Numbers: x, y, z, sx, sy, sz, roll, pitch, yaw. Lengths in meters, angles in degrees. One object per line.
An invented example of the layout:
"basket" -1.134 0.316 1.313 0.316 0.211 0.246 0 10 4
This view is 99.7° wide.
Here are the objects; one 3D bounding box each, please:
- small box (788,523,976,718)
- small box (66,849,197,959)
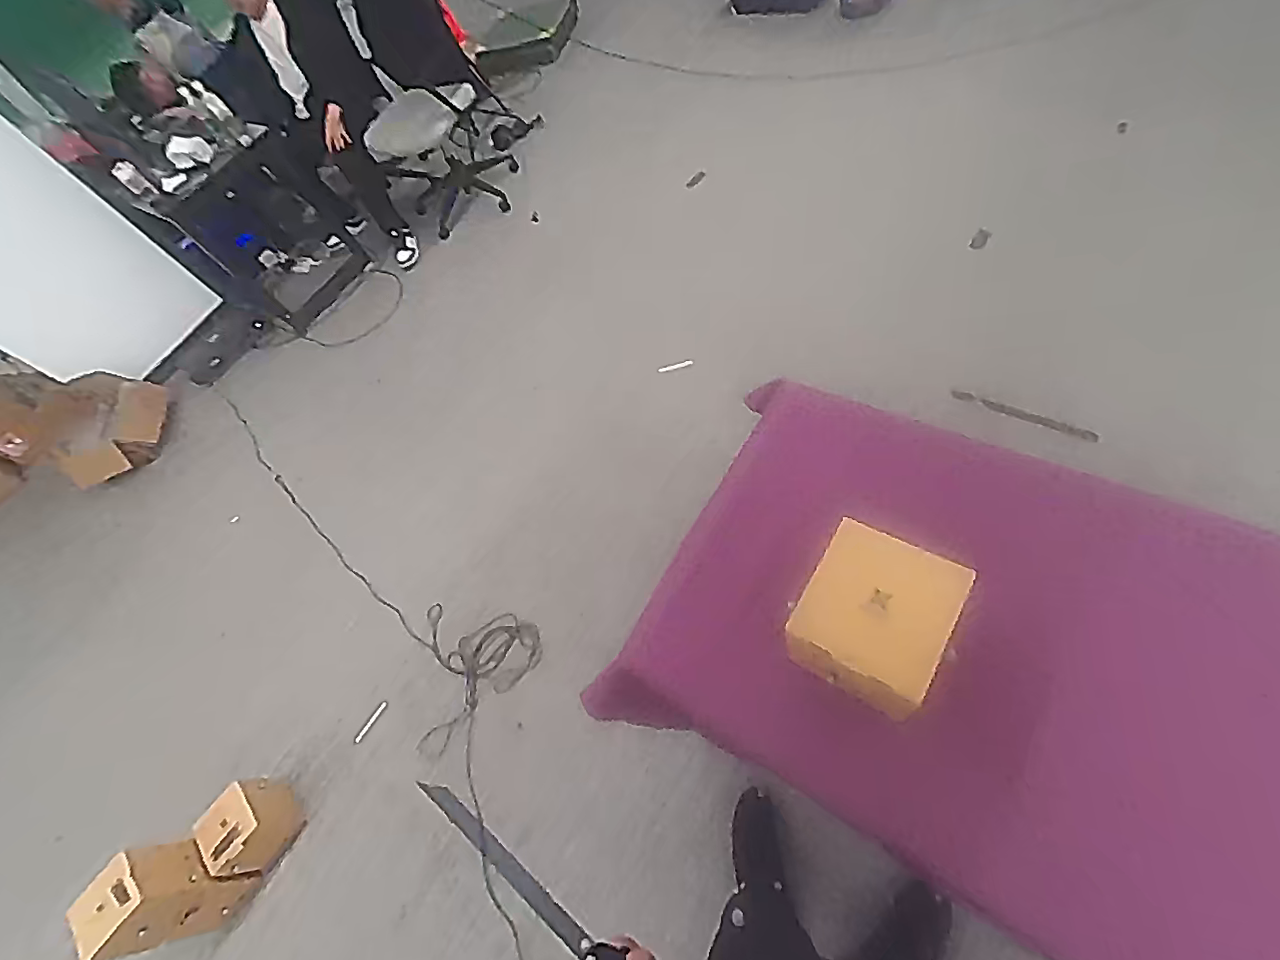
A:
"small box" 0.311 0.191 0.723 0.168 0.176 0.179 25 72 27
"small box" -1.288 1.089 1.386 0.168 0.176 0.179 31 76 30
